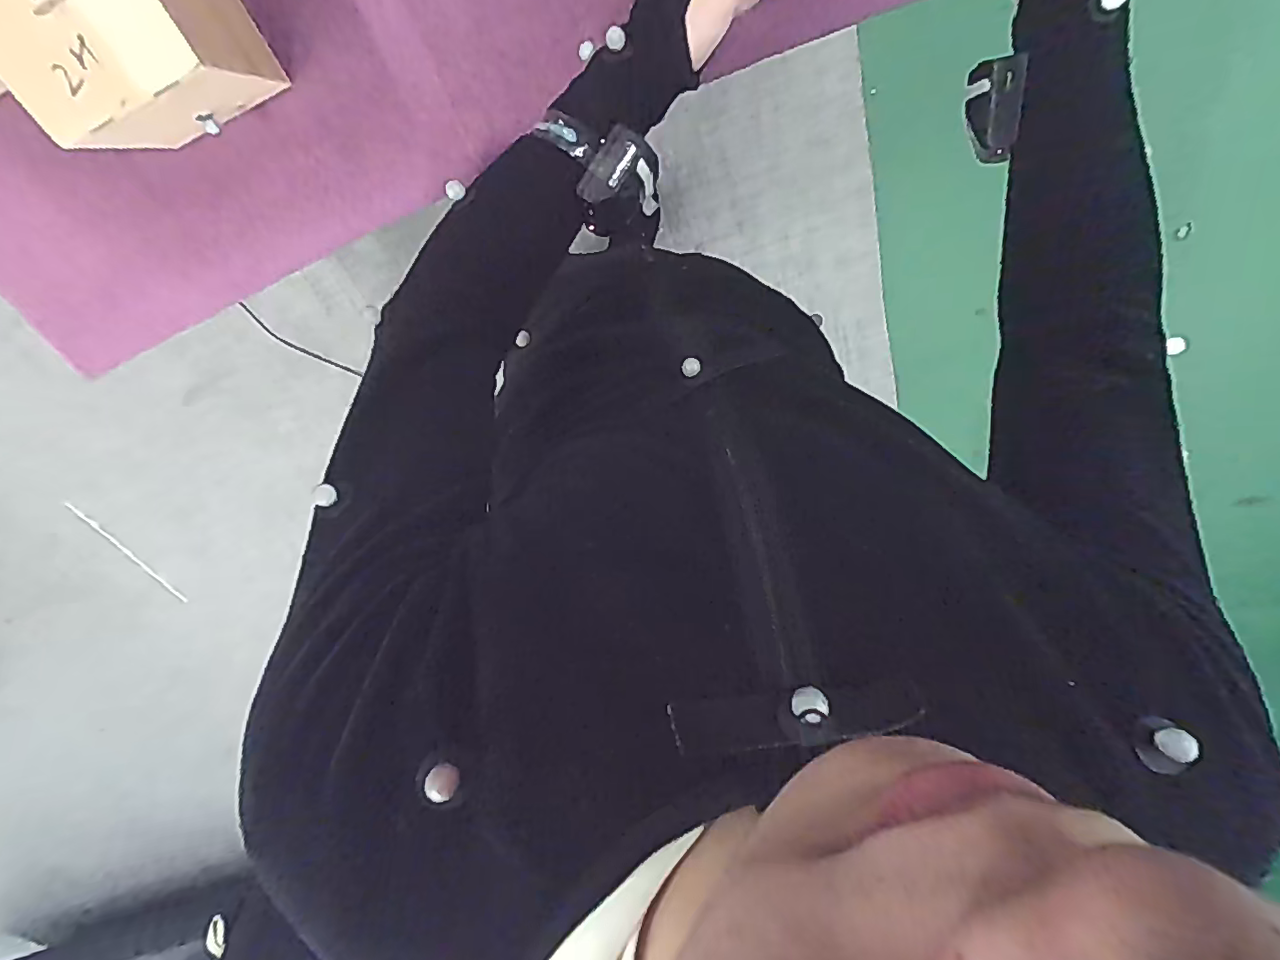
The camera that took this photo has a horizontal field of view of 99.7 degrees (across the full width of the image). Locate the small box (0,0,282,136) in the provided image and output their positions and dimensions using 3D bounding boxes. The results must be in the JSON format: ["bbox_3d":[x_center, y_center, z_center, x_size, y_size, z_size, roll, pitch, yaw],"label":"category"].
[{"bbox_3d":[-0.494,-0.448,0.506,0.168,0.176,0.179,-21,122,8],"label":"small box"}]
